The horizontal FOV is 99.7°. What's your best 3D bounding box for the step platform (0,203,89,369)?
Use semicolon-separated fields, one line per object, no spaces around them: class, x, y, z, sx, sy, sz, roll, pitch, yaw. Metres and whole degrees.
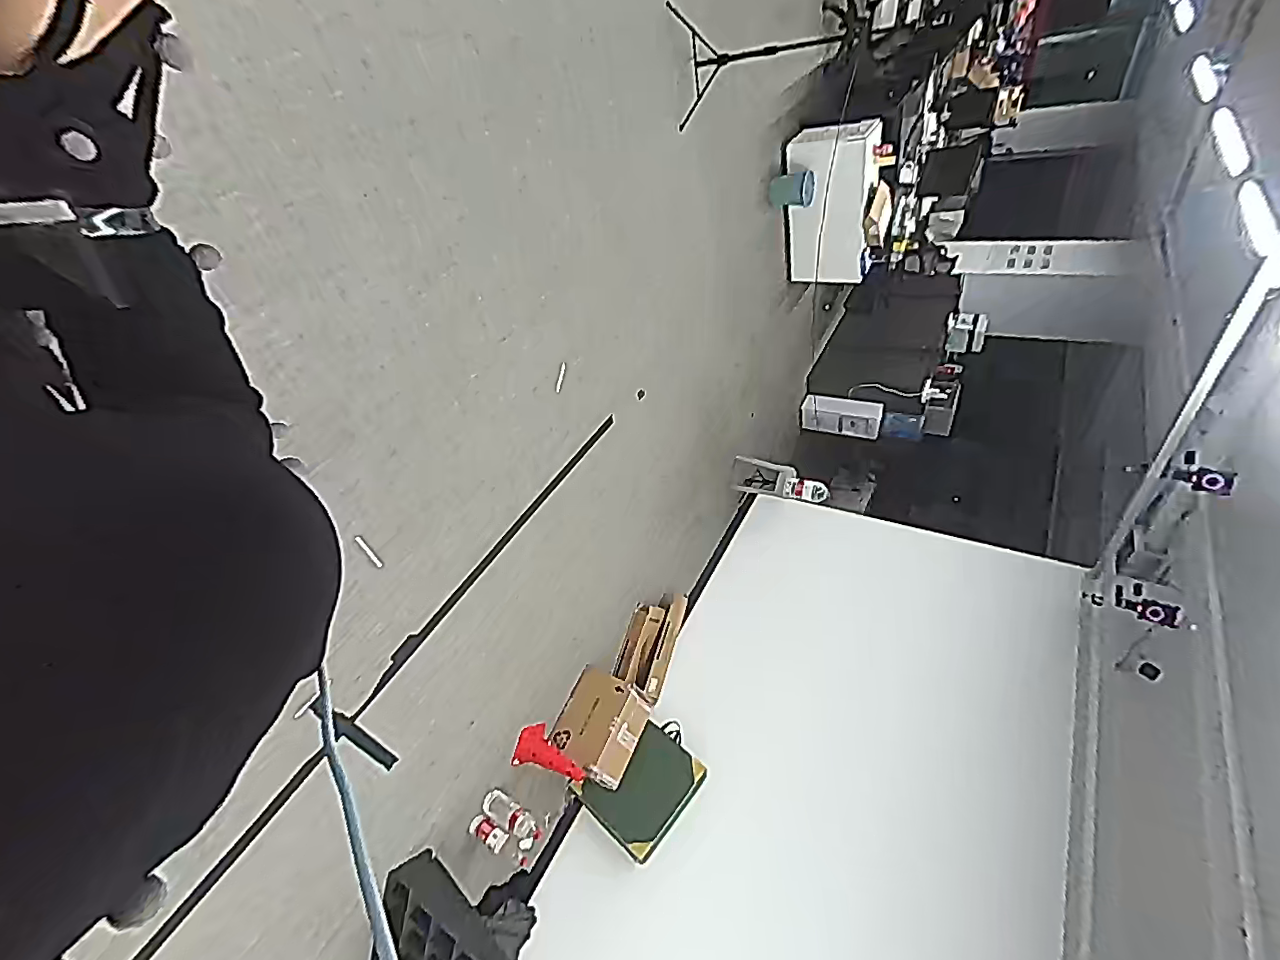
step platform;-1.263;-0.215;0.766;0.684;0.204;0.286;-47;139;-39
